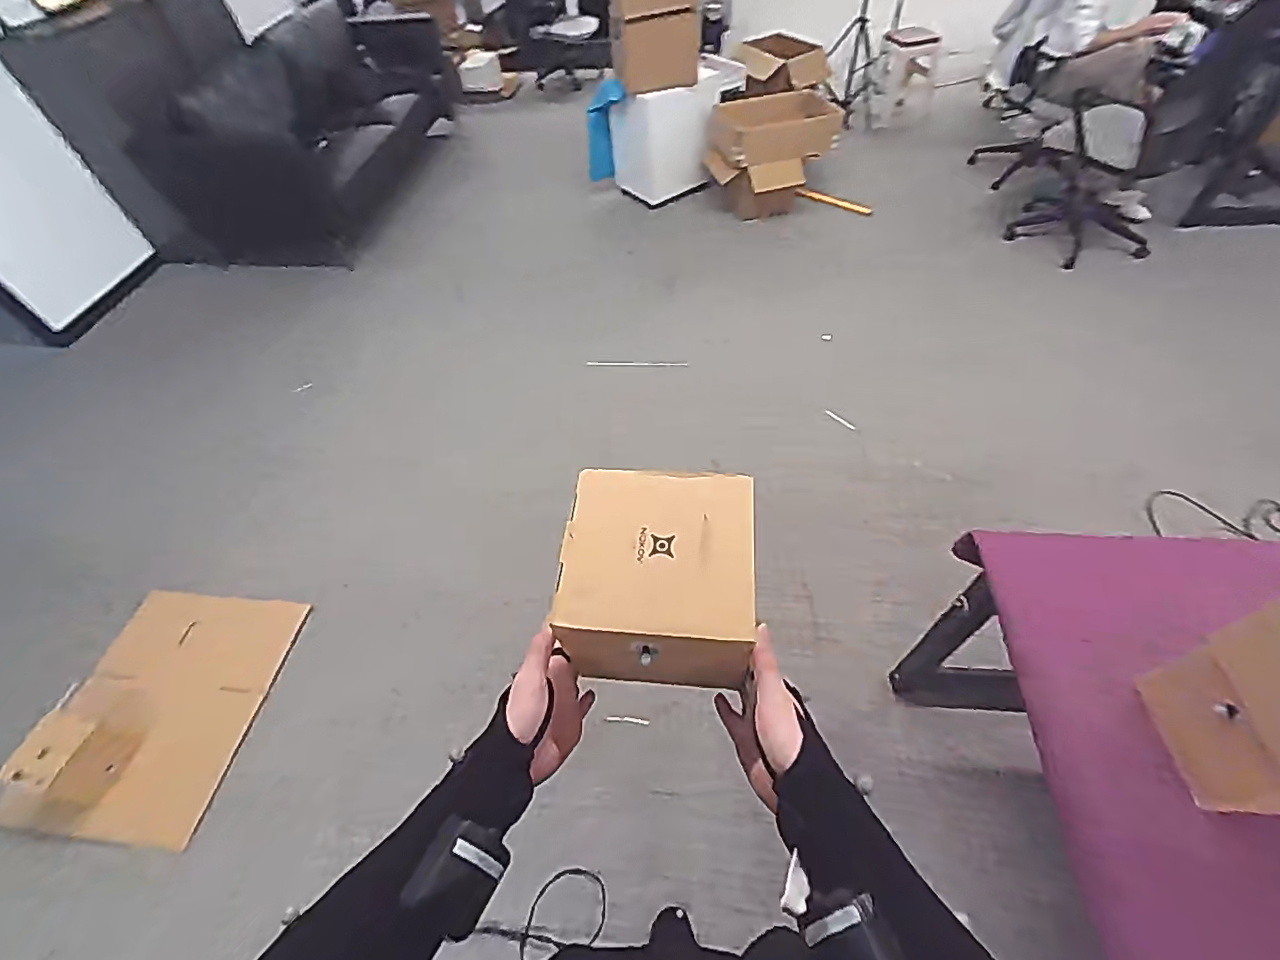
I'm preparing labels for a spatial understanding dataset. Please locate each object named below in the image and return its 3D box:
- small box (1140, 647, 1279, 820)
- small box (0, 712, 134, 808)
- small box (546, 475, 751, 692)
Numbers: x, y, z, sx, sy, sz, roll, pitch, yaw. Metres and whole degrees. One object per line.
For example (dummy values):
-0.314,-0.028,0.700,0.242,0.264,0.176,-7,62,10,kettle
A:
0.825,0.335,0.702,0.168,0.176,0.179,0,50,6,small box
-1.536,0.758,1.459,0.168,0.176,0.179,10,53,12,small box
0.019,0.111,0.558,0.179,0.176,0.168,2,56,6,small box
